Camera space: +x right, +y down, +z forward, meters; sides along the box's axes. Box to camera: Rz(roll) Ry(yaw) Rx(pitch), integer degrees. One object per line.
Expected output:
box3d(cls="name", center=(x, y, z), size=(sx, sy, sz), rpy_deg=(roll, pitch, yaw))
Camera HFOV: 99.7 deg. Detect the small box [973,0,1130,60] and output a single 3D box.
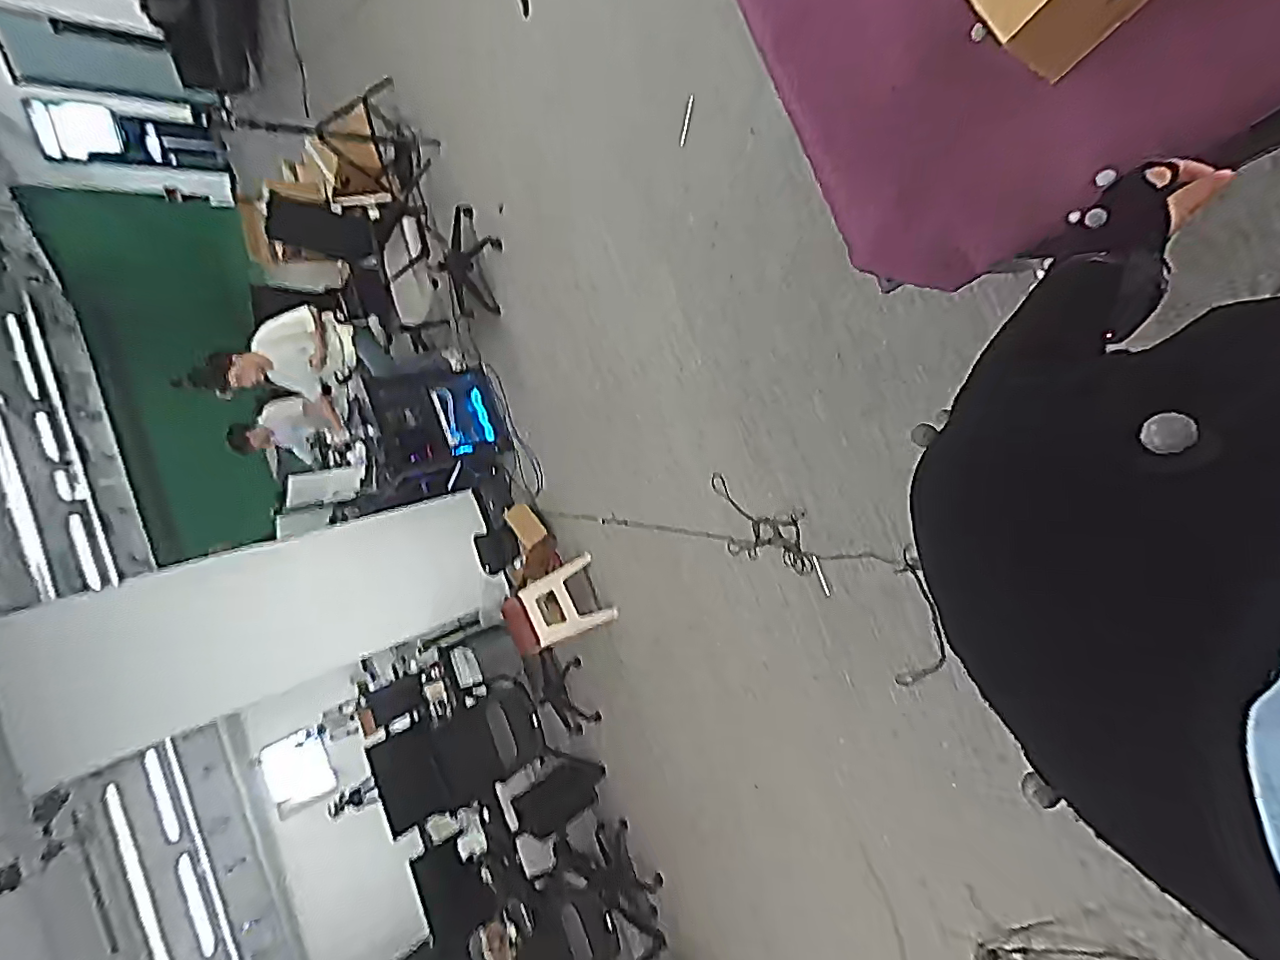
box3d(cls="small box", center=(0.385, -0.516, 0.476), size=(0.168, 0.176, 0.179), rpy_deg=(-37, 75, 51))
